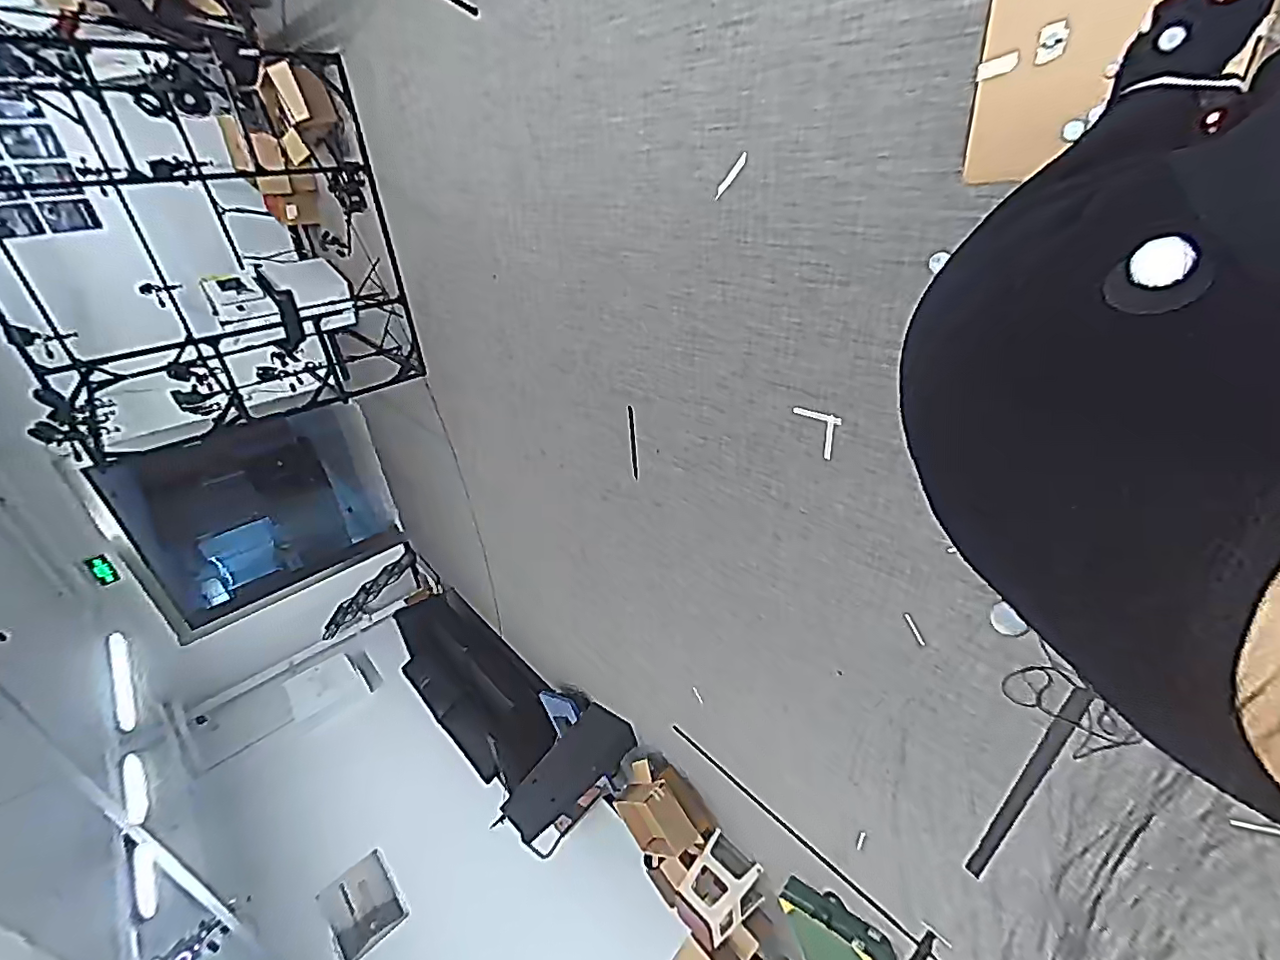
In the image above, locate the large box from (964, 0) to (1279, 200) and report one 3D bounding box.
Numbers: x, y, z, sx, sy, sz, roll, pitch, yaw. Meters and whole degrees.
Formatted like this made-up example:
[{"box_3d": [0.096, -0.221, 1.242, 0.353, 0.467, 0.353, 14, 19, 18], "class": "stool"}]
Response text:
[{"box_3d": [0.778, -0.655, 0.869, 0.320, 0.408, 0.320, 24, 132, 41], "class": "large box"}]
